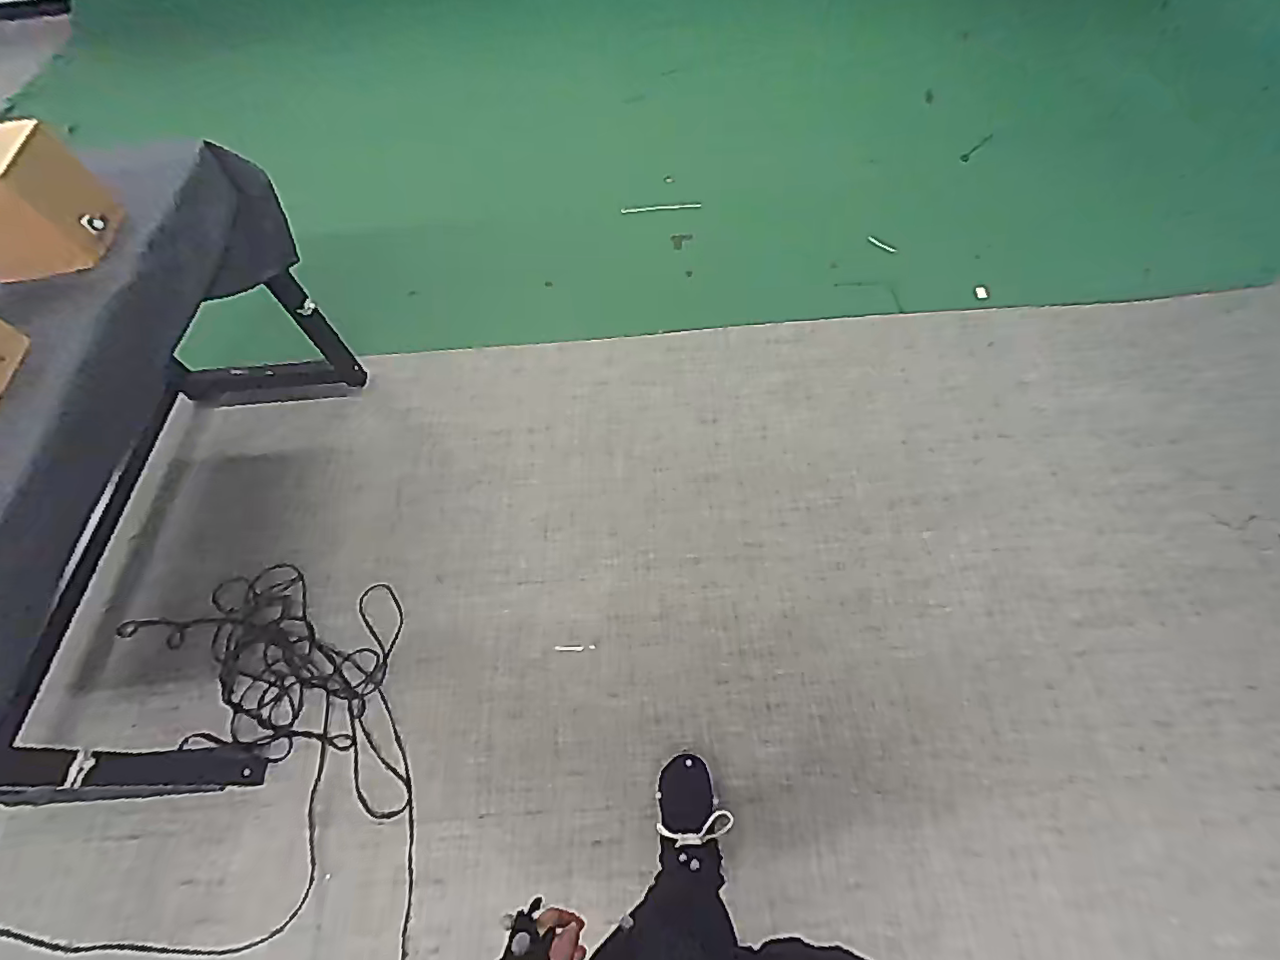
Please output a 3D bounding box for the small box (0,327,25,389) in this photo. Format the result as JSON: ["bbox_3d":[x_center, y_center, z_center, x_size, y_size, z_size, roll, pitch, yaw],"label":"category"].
[{"bbox_3d":[-1.040,-0.173,0.745,0.179,0.176,0.168,-9,60,-1],"label":"small box"}]

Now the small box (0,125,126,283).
[{"bbox_3d":[-1.042,-0.455,0.908,0.179,0.176,0.168,-10,61,-3],"label":"small box"}]
